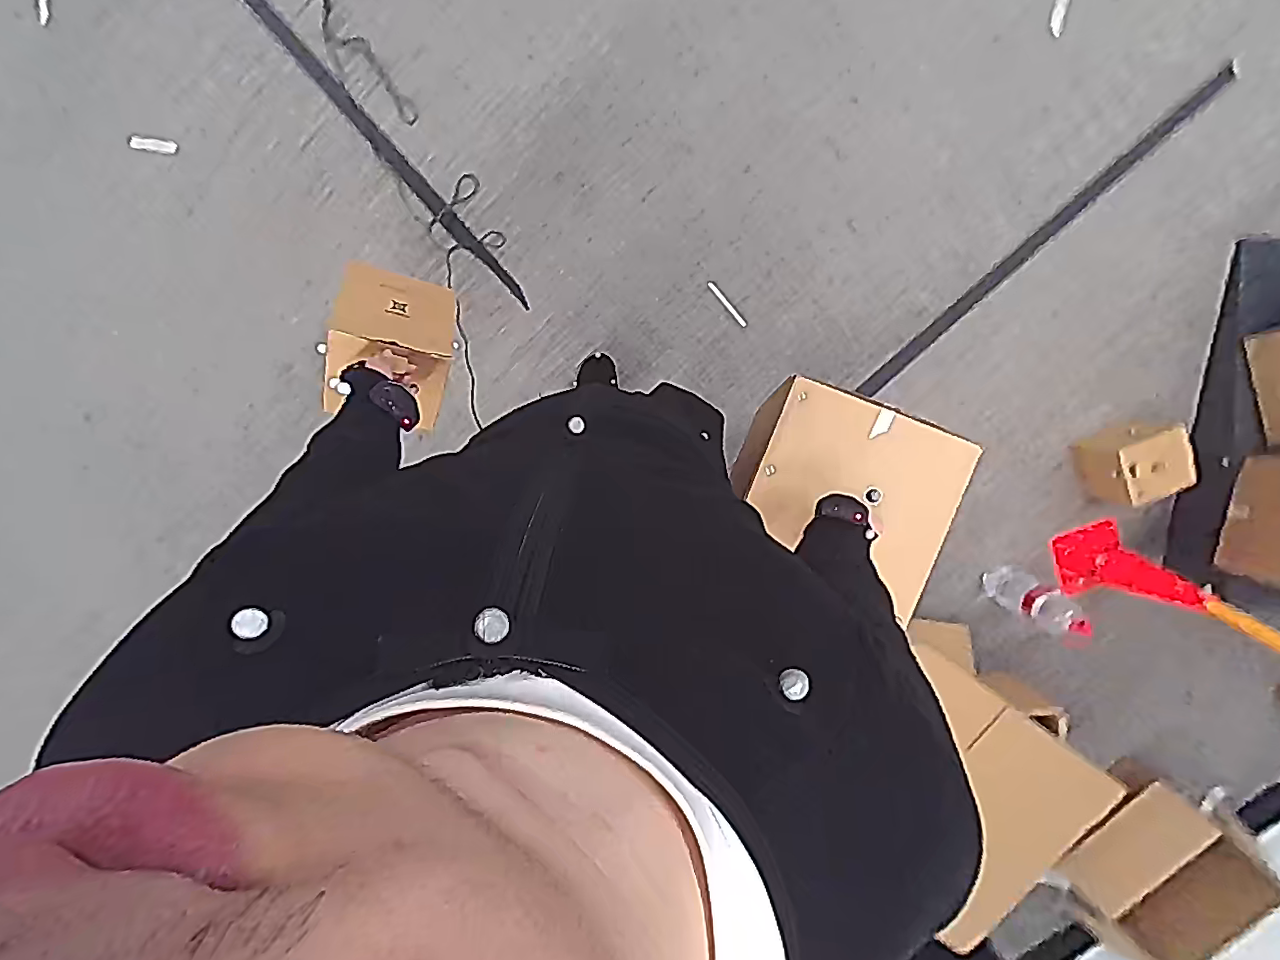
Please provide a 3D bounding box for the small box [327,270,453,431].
[{"bbox_3d":[-0.408,-0.202,0.885,0.168,0.179,0.176,8,139,-28],"label":"small box"}]
